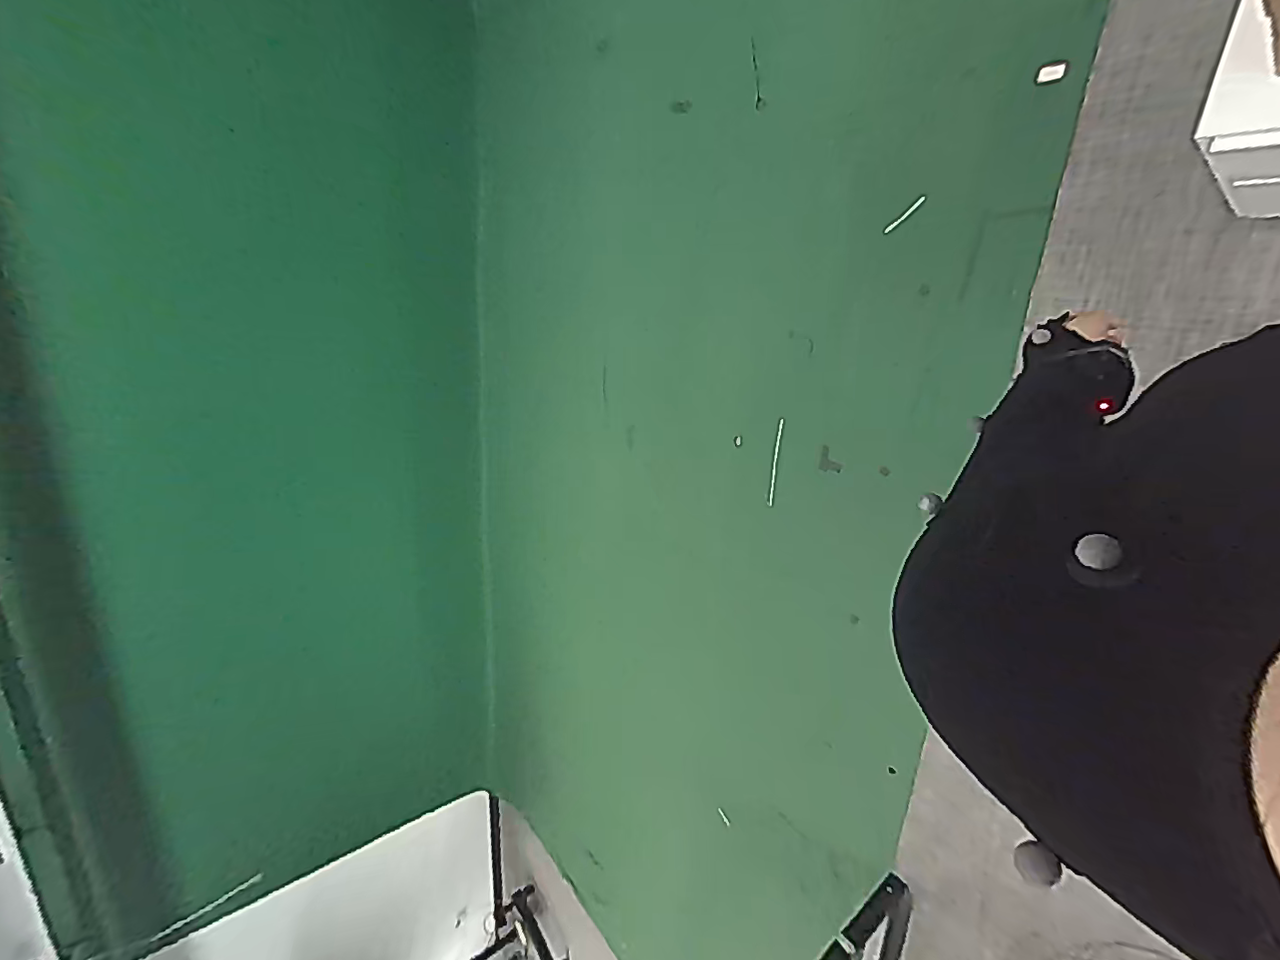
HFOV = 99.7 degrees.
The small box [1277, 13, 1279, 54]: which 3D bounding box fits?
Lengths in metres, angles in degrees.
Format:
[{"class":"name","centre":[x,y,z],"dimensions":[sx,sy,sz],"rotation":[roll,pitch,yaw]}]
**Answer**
[{"class":"small box","centre":[0.682,-0.476,0.440],"dimensions":[0.179,0.176,0.168],"rotation":[31,120,42]}]
